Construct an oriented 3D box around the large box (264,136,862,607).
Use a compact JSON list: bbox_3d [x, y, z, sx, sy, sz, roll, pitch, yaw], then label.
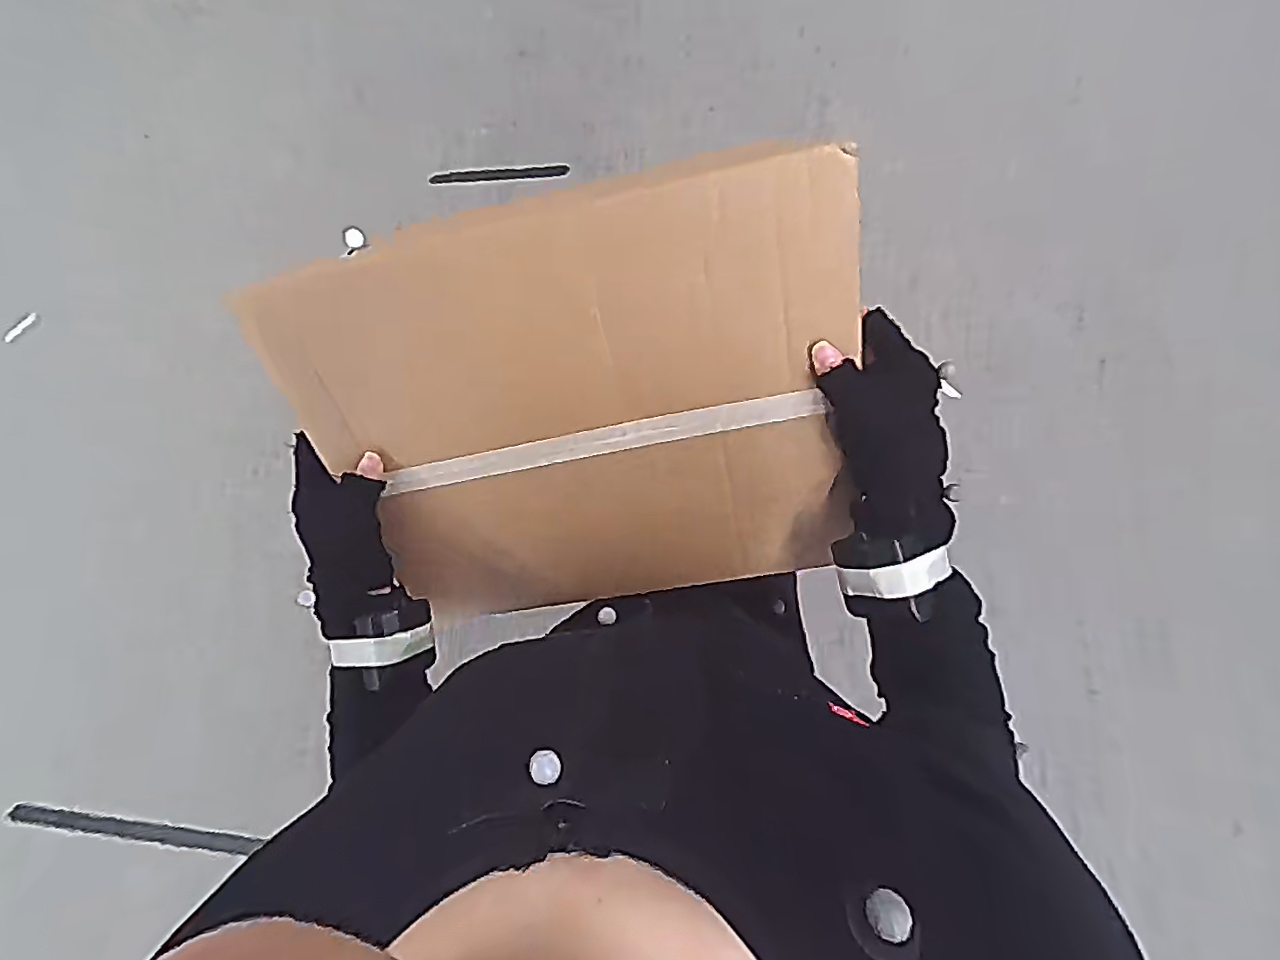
[{"bbox_3d":[-0.032,-0.115,0.542,0.408,0.320,0.320,-9,122,8],"label":"large box"}]
